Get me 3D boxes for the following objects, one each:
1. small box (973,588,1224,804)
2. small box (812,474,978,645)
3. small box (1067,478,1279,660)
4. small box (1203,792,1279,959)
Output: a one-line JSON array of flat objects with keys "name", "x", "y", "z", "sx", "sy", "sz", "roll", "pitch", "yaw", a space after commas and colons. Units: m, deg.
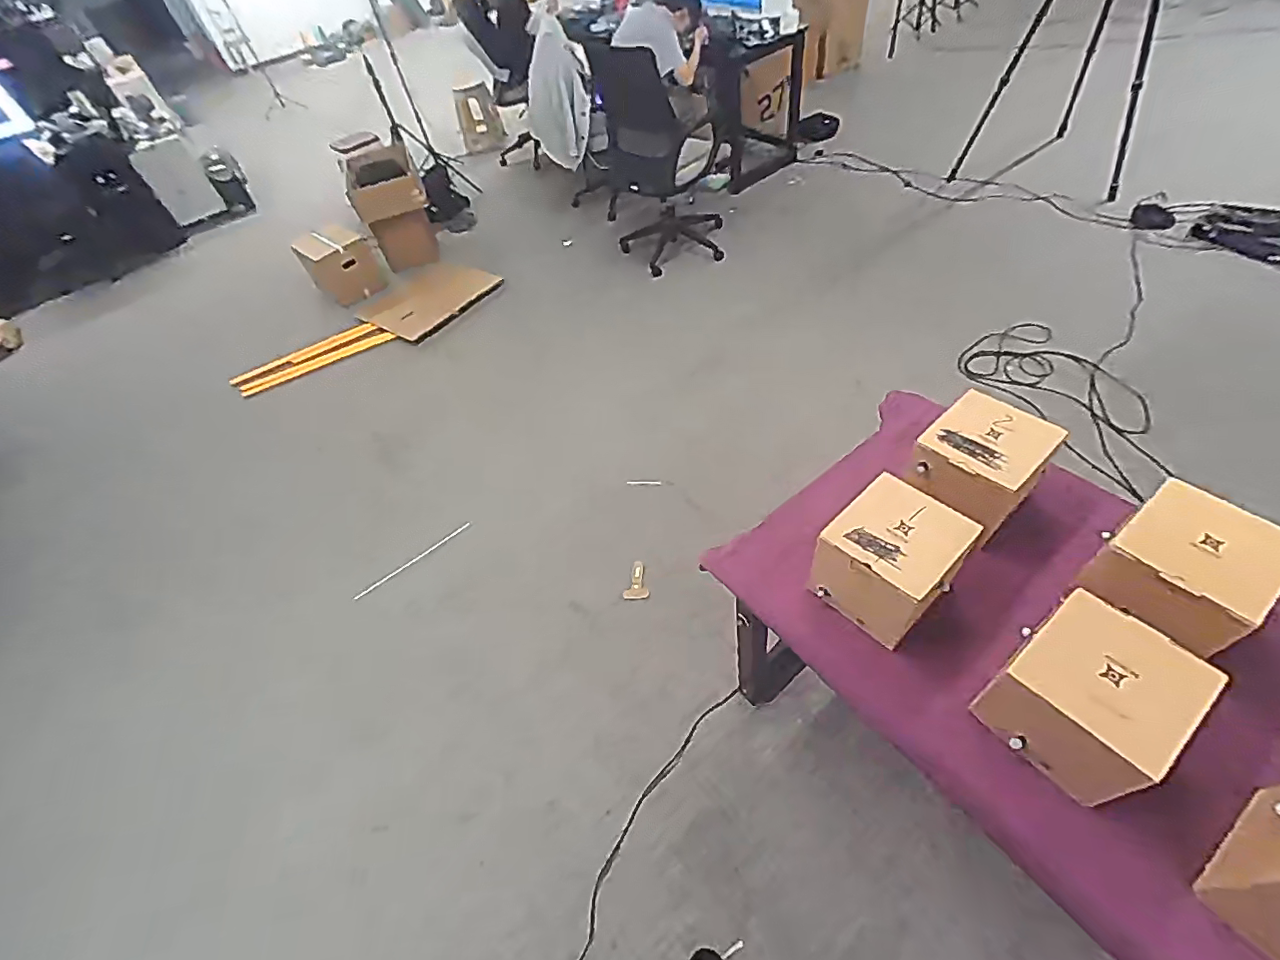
[{"name": "small box", "x": 0.578, "y": 0.283, "z": 0.709, "sx": 0.179, "sy": 0.176, "sz": 0.168, "roll": -36, "pitch": 52, "yaw": -16}, {"name": "small box", "x": 0.396, "y": 0.130, "z": 0.869, "sx": 0.179, "sy": 0.176, "sz": 0.168, "roll": -37, "pitch": 53, "yaw": -20}, {"name": "small box", "x": 0.778, "y": 0.136, "z": 0.787, "sx": 0.179, "sy": 0.176, "sz": 0.168, "roll": -37, "pitch": 53, "yaw": -16}, {"name": "small box", "x": 0.747, "y": 0.432, "z": 0.548, "sx": 0.179, "sy": 0.176, "sz": 0.168, "roll": -34, "pitch": 52, "yaw": -17}]
